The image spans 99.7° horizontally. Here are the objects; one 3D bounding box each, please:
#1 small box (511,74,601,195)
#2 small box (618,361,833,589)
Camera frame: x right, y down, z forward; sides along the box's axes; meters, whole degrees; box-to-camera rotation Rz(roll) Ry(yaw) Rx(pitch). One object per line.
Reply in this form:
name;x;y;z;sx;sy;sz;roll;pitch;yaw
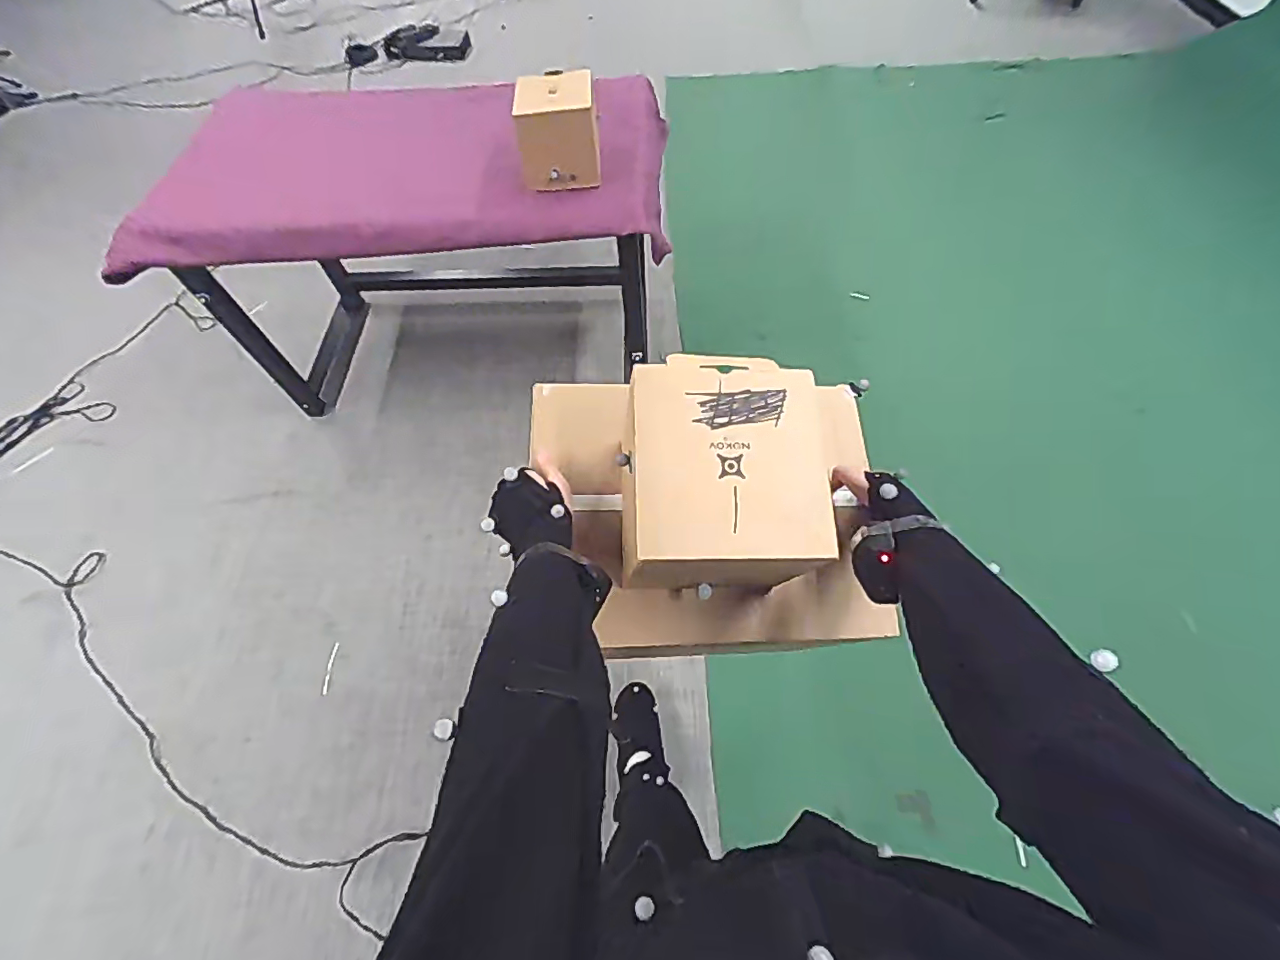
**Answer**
small box;-0.179;-0.770;1.210;0.168;0.176;0.179;-5;58;2
small box;0.064;0.005;0.526;0.168;0.176;0.179;0;71;-5
